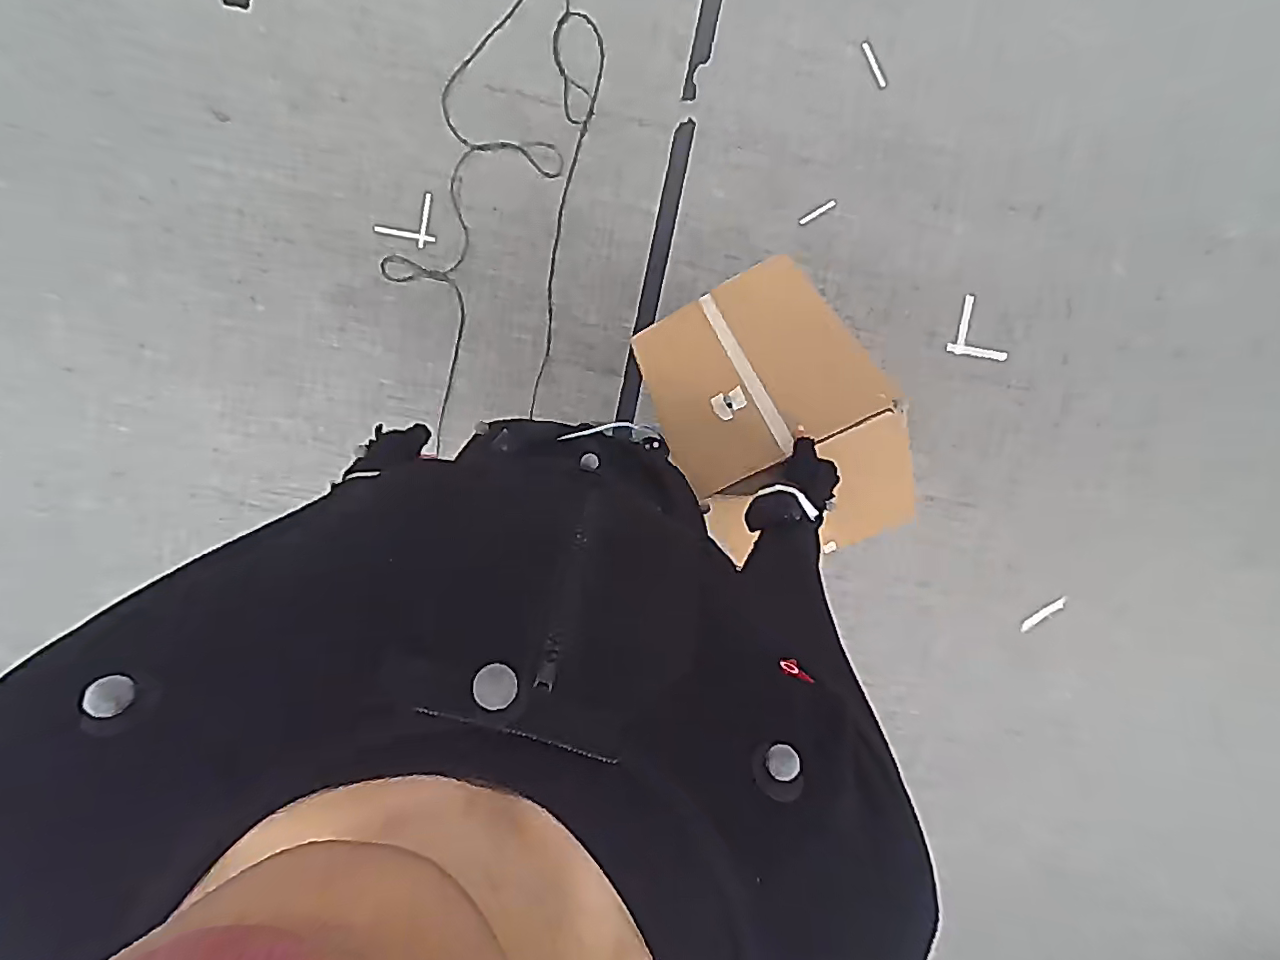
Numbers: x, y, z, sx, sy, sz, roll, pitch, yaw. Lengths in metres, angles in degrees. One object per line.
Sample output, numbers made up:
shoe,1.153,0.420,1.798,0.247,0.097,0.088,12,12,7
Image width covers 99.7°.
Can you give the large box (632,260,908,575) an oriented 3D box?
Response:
large box,0.228,-0.106,0.977,0.320,0.408,0.320,-28,141,12
